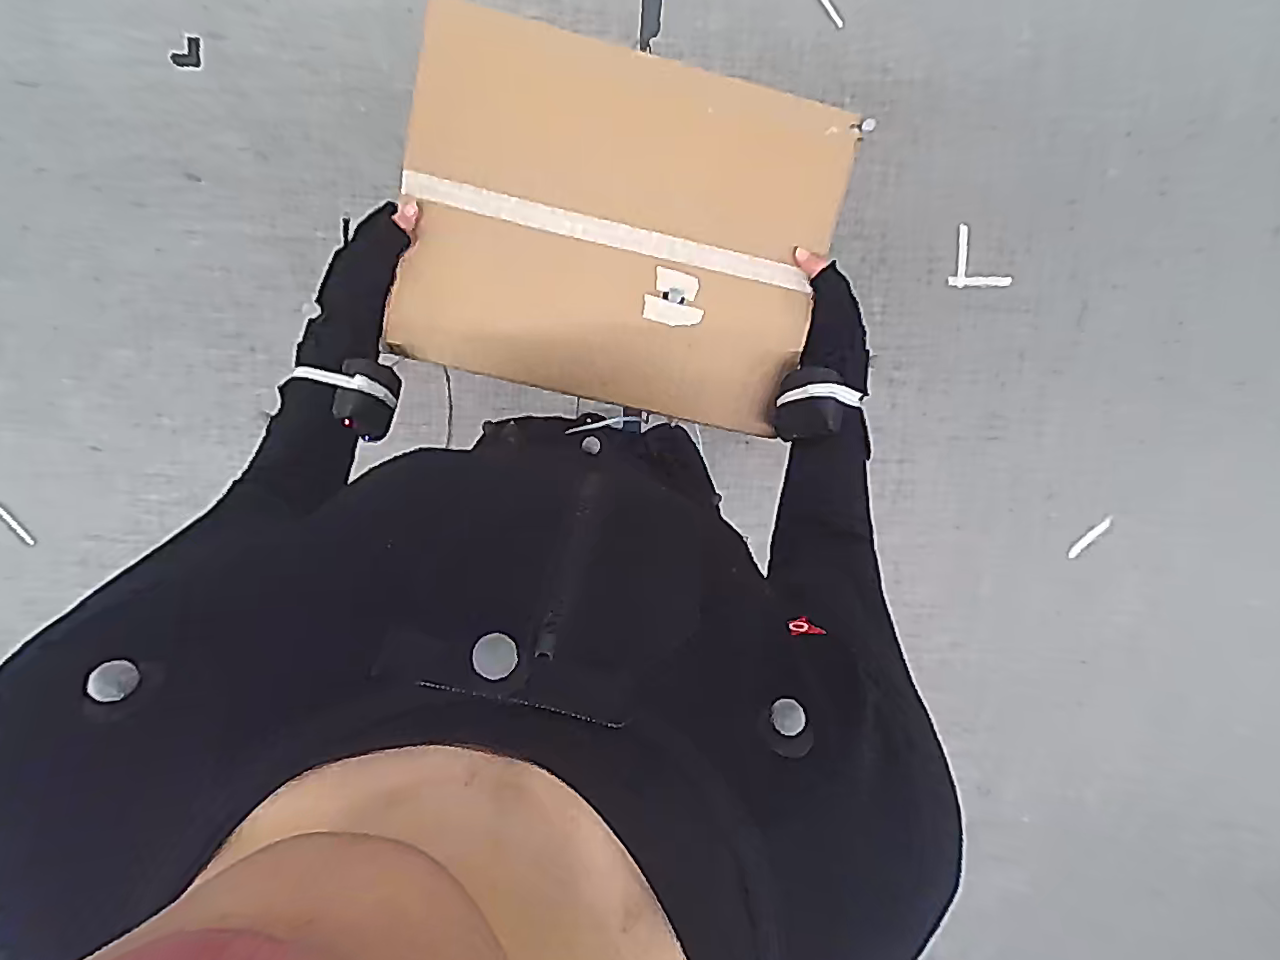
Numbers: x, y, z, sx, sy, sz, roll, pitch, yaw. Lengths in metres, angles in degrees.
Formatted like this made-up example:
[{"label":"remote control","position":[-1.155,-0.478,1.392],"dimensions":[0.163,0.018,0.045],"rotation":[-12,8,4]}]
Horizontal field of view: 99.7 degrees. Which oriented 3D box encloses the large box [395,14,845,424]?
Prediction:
[{"label":"large box","position":[-0.034,-0.268,0.677],"dimensions":[0.408,0.320,0.320],"rotation":[11,100,-6]}]
